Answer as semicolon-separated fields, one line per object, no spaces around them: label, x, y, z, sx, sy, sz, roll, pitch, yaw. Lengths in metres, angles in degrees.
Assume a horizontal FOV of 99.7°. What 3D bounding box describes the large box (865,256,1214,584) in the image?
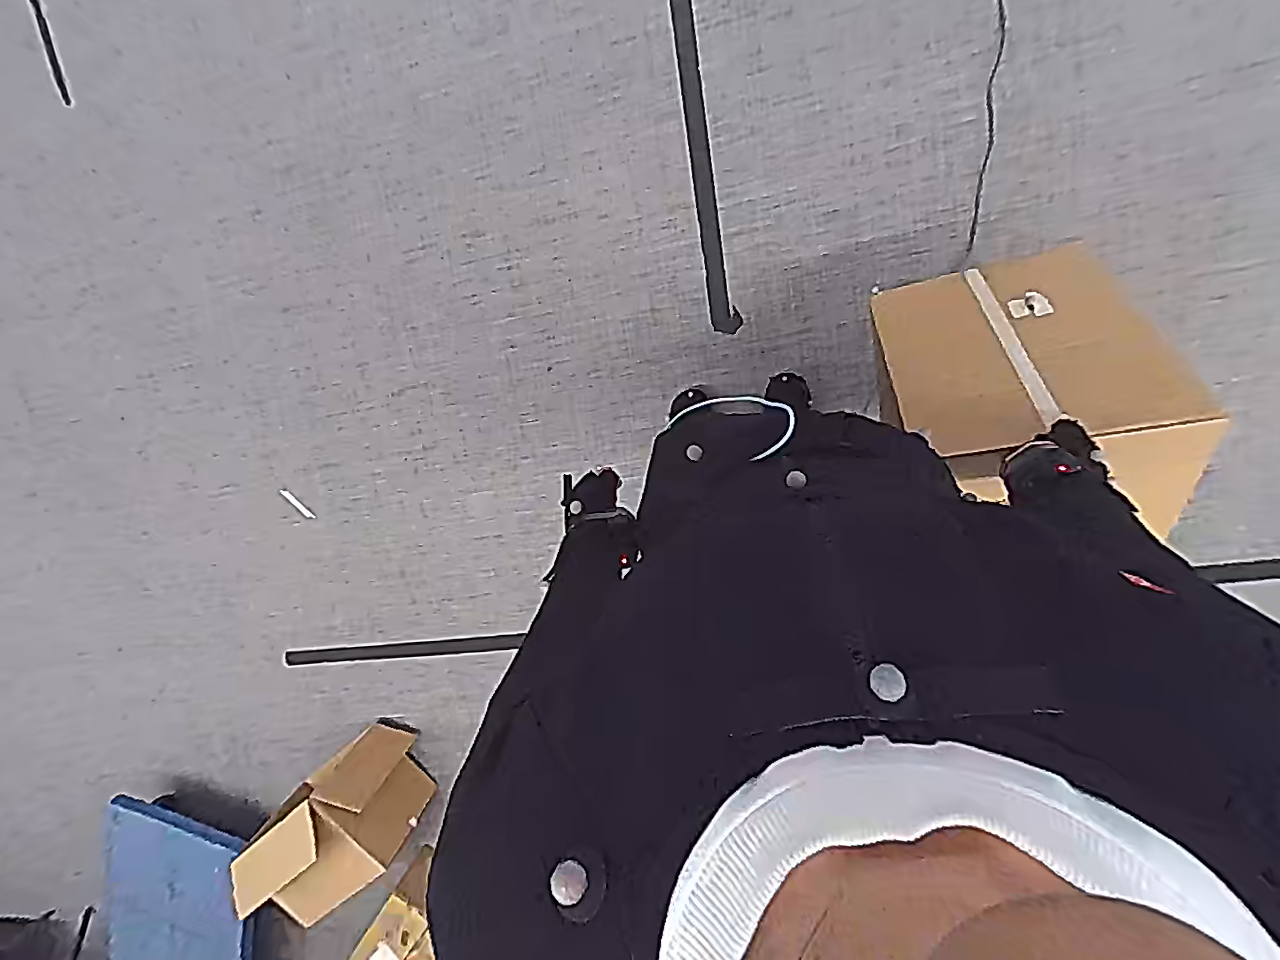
large box;0.575;-0.092;0.881;0.320;0.408;0.320;-9;135;19
